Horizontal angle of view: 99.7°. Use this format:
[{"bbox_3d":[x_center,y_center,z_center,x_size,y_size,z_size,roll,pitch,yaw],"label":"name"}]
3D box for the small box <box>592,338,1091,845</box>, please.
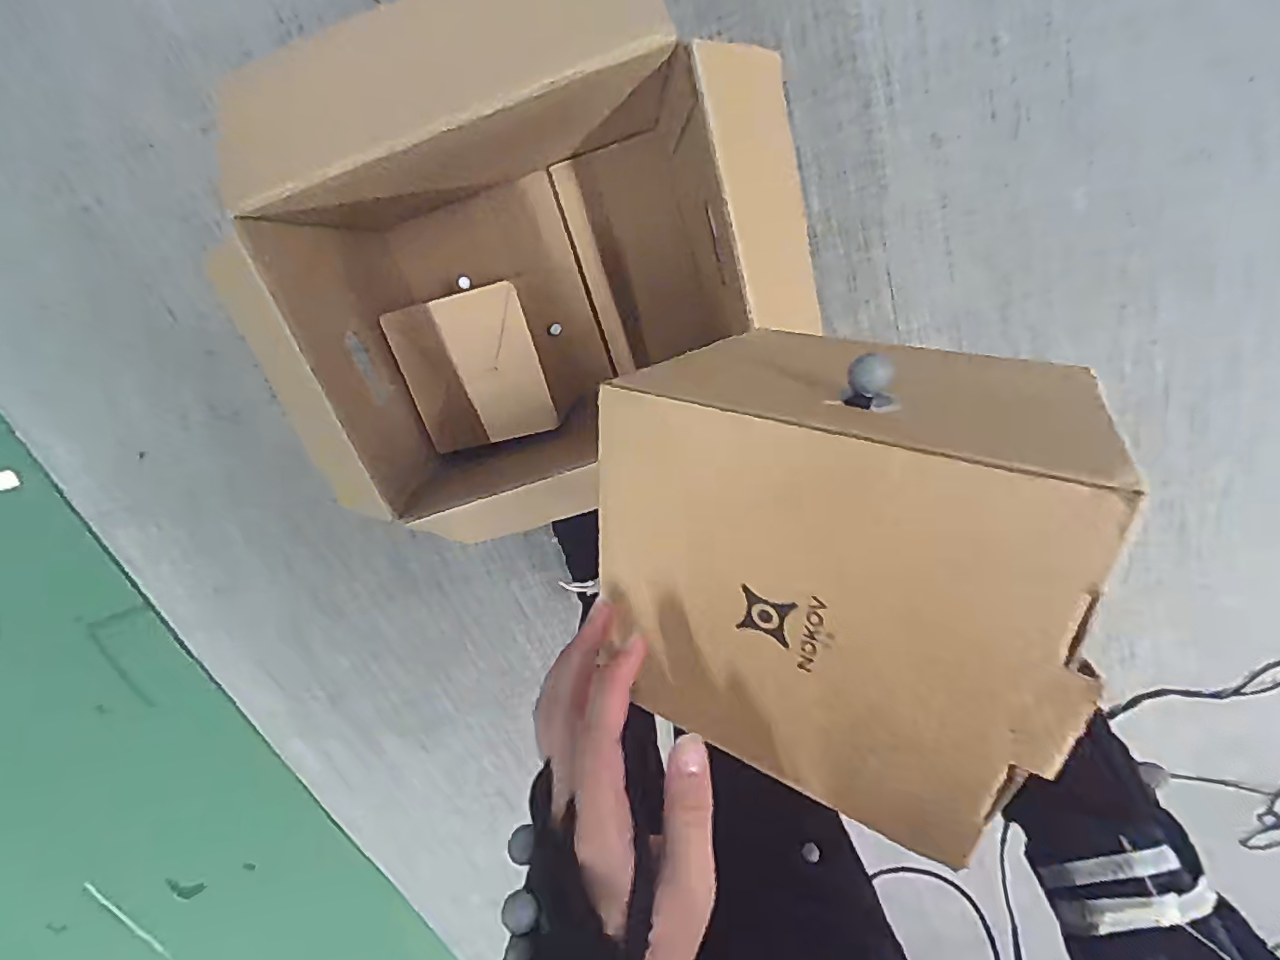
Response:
[{"bbox_3d":[0.093,0.024,0.284,0.179,0.176,0.168,16,118,29],"label":"small box"}]
